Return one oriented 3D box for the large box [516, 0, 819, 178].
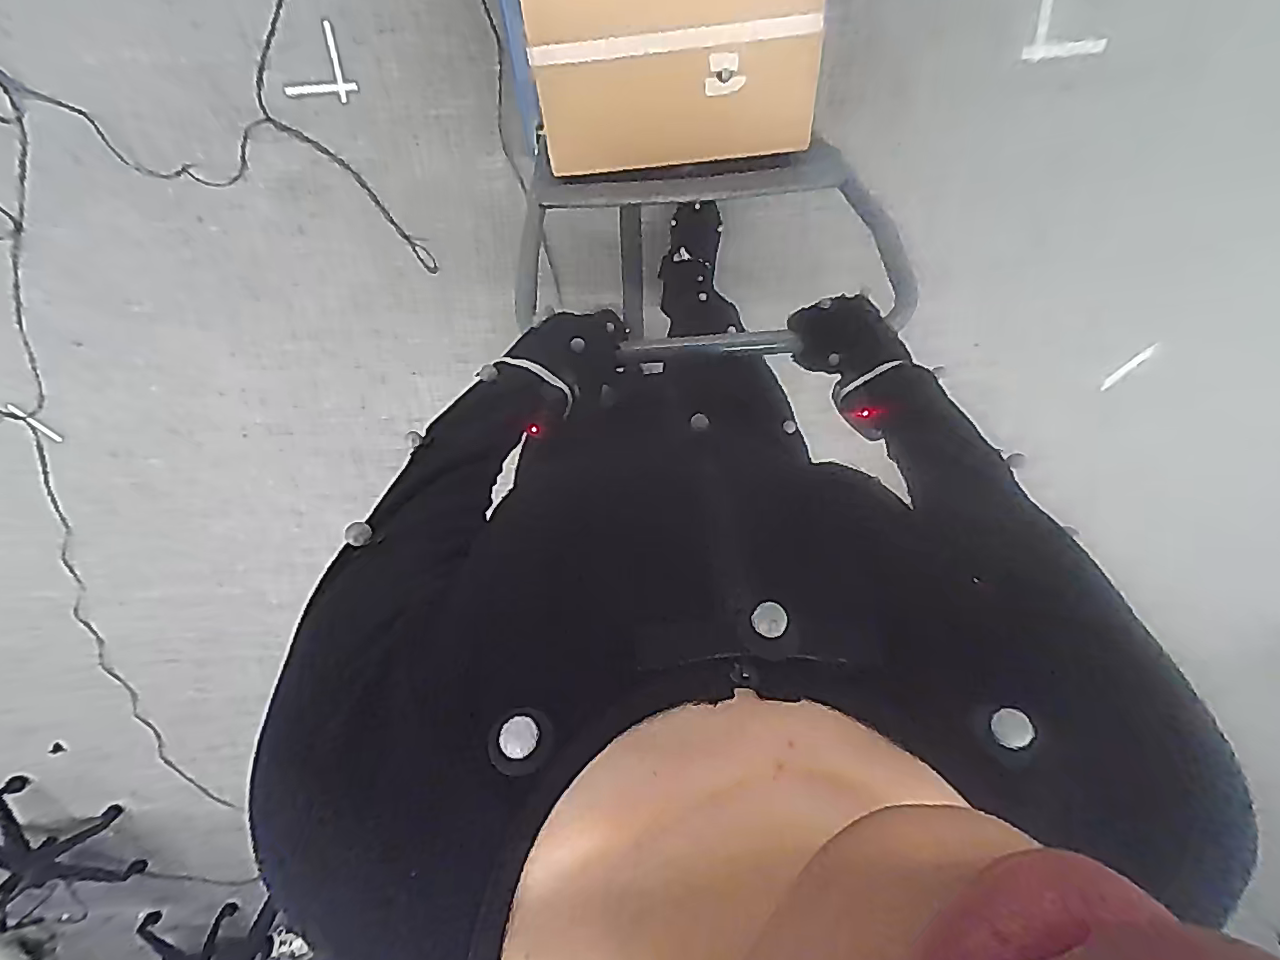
[{"bbox_3d":[0.032,-0.708,0.838,0.408,0.320,0.320,-6,137,1],"label":"large box"}]
